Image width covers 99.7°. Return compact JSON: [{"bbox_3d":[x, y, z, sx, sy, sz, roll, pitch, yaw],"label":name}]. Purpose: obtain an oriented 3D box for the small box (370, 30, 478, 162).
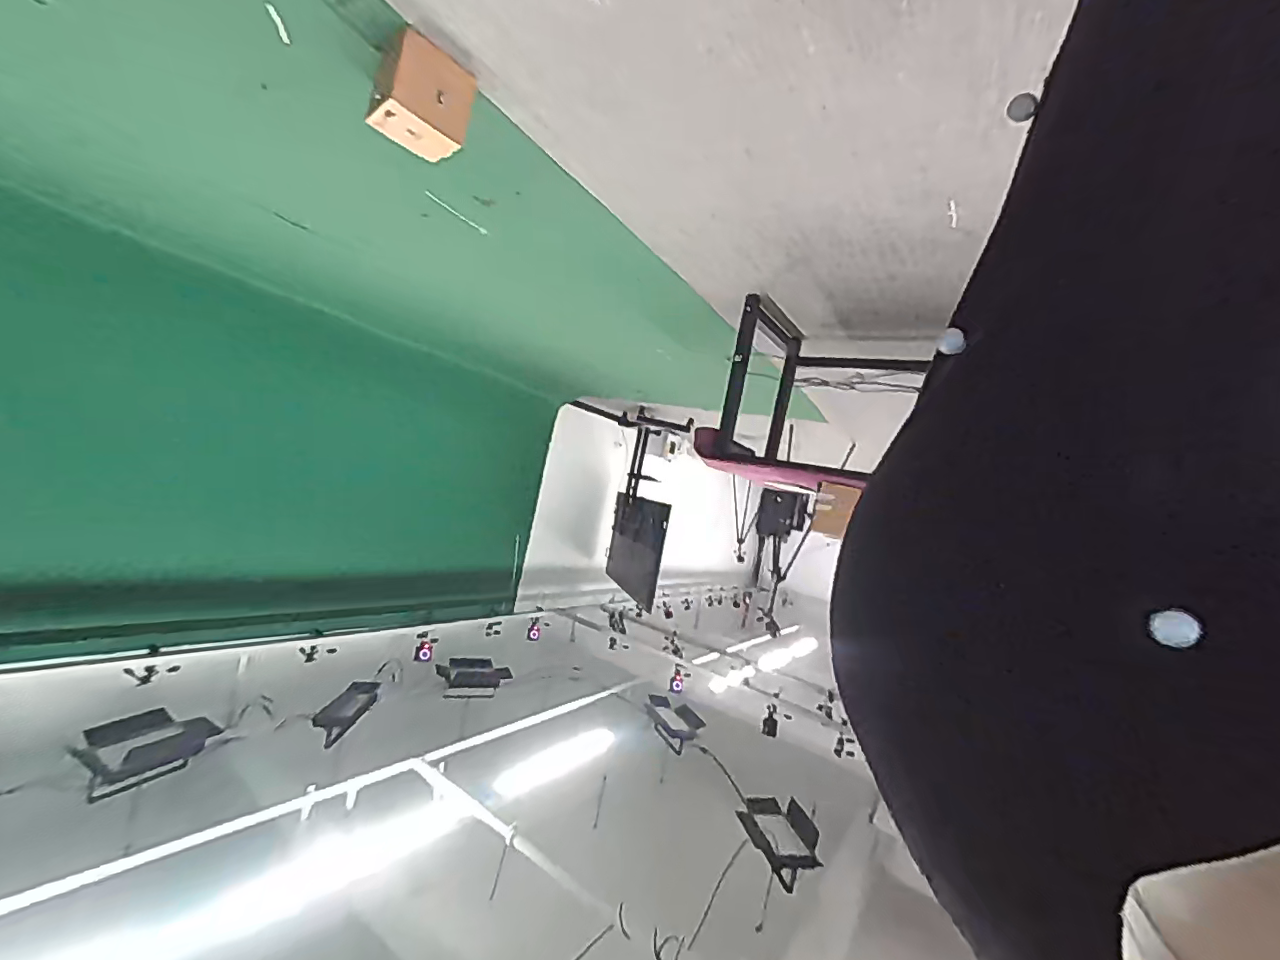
[{"bbox_3d":[-0.512,-0.908,1.291,0.168,0.176,0.179,11,179,44],"label":"small box"}]
